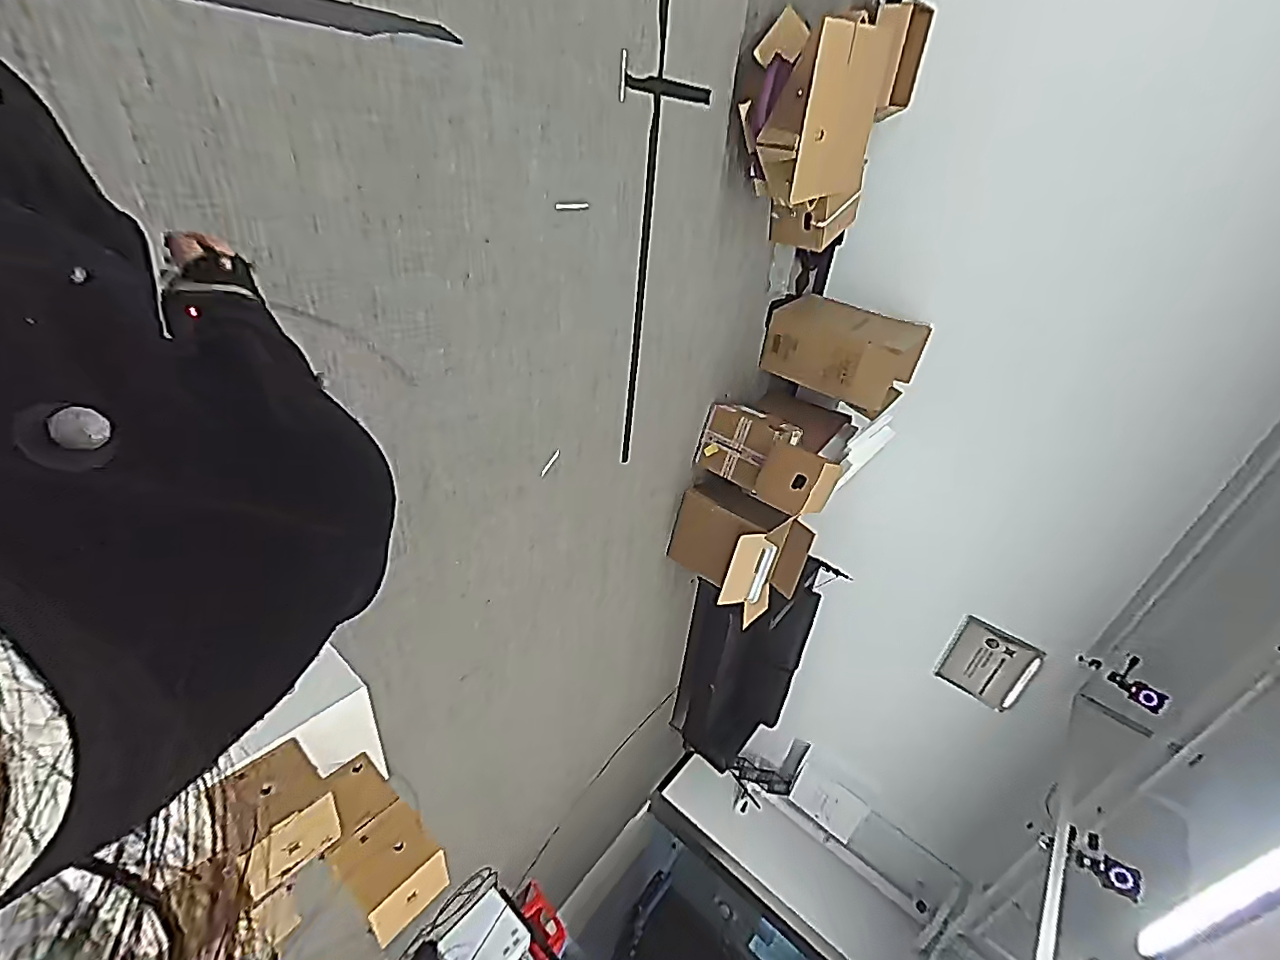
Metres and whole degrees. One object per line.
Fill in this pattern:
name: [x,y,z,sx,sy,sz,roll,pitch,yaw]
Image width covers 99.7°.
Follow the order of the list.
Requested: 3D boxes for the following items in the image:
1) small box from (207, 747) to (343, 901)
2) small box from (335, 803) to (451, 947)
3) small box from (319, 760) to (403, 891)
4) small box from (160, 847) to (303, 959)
small box: [-0.733,0.678,1.091,0.168,0.176,0.179,-26,135,-46]
small box: [-0.548,0.866,1.204,0.168,0.176,0.179,-30,137,-42]
small box: [-0.677,0.804,1.280,0.168,0.176,0.179,-28,136,-44]
small box: [-0.833,0.884,1.110,0.168,0.176,0.179,-31,137,-45]
